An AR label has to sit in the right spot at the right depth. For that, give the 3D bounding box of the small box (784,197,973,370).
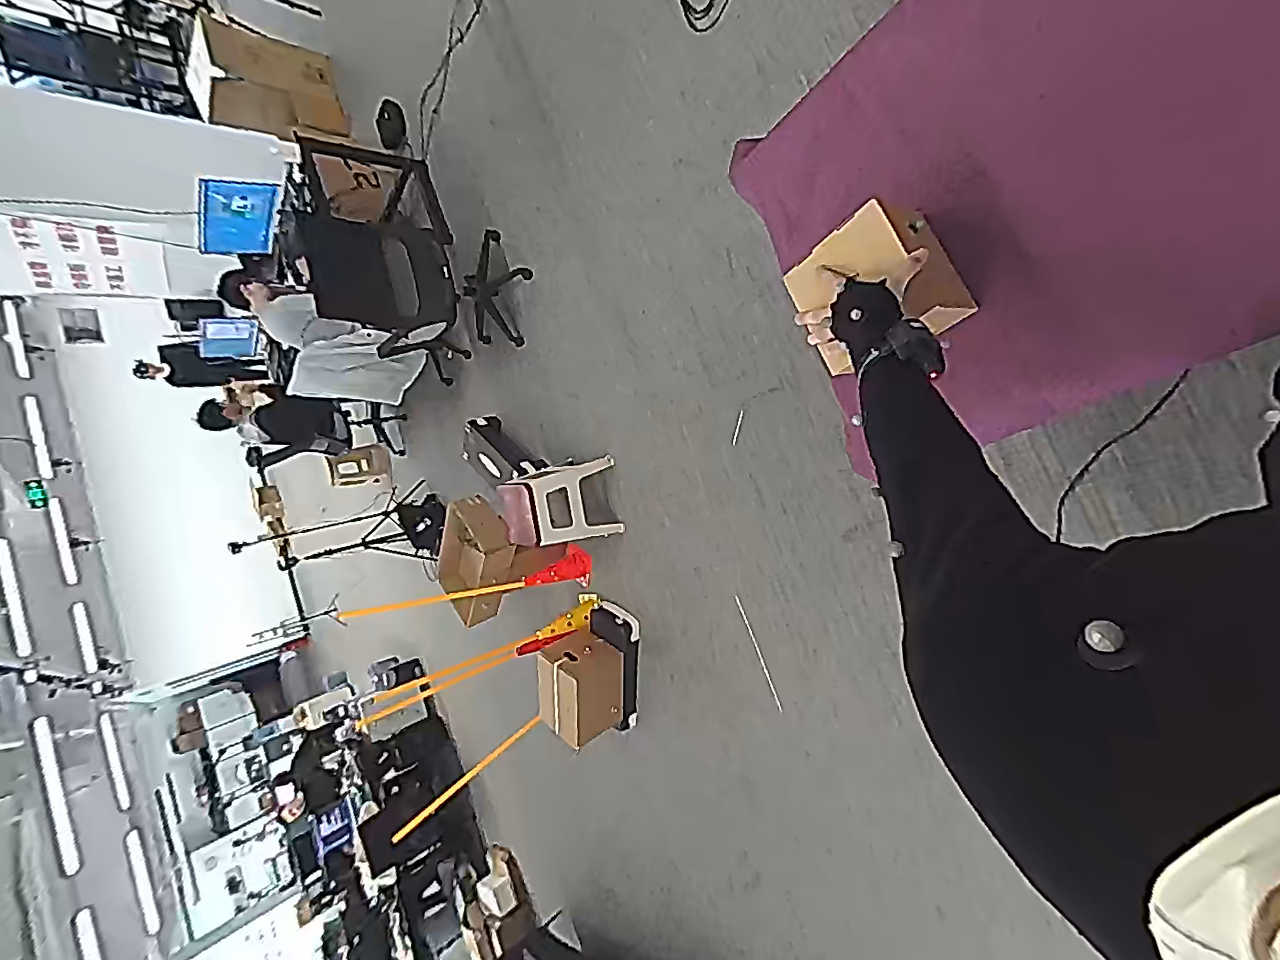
[{"bbox_3d":[0.356,-0.282,0.810,0.168,0.176,0.179,-34,76,48],"label":"small box"}]
